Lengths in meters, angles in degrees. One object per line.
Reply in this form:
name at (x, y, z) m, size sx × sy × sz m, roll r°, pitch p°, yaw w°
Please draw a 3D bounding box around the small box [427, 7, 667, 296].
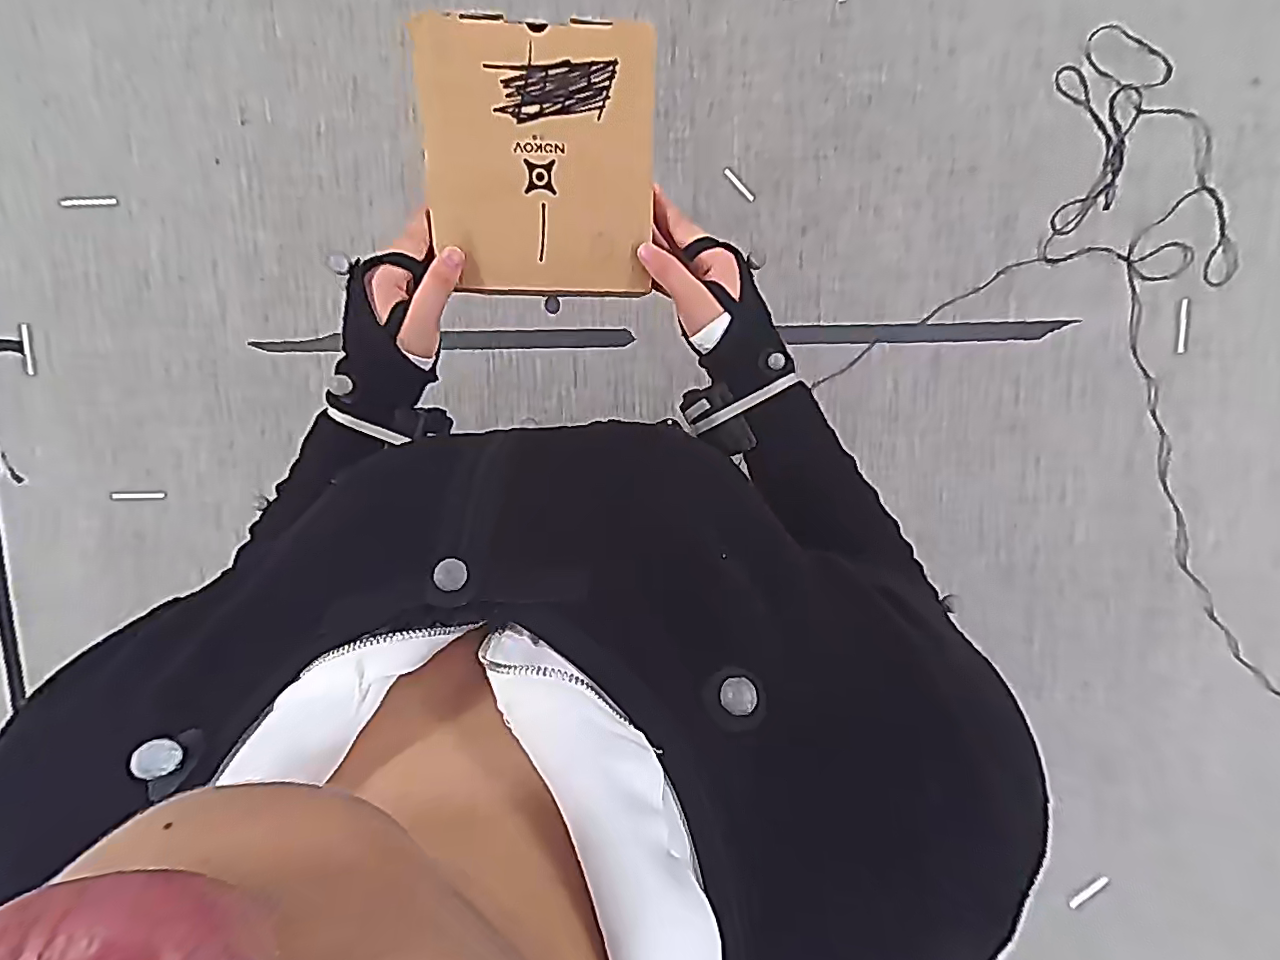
small box at (-0.071, -0.256, 0.468) m, size 0.168 × 0.176 × 0.179 m, roll 1°, pitch 108°, yaw -3°
